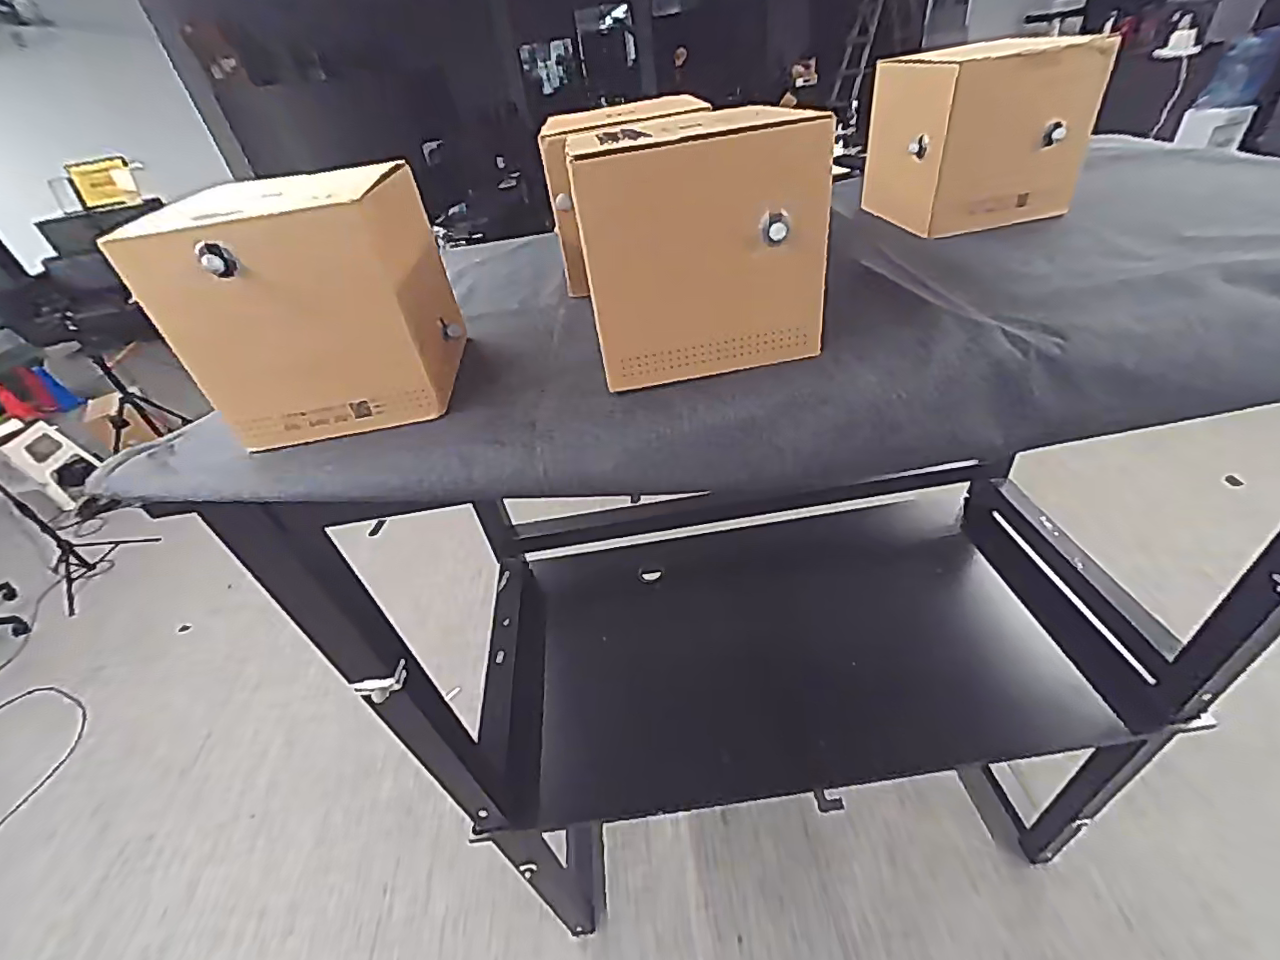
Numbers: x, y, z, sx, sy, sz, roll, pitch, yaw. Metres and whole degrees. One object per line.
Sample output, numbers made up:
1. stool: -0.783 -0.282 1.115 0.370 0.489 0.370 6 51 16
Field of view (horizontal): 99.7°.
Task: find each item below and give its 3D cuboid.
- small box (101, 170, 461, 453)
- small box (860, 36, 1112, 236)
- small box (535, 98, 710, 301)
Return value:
1. small box: -0.264 -0.146 0.458 0.168 0.176 0.179 -11 38 -1
2. small box: 0.381 -0.401 0.638 0.168 0.176 0.179 -10 39 -1
3. small box: -0.014 -0.333 0.643 0.179 0.176 0.168 -9 39 1
